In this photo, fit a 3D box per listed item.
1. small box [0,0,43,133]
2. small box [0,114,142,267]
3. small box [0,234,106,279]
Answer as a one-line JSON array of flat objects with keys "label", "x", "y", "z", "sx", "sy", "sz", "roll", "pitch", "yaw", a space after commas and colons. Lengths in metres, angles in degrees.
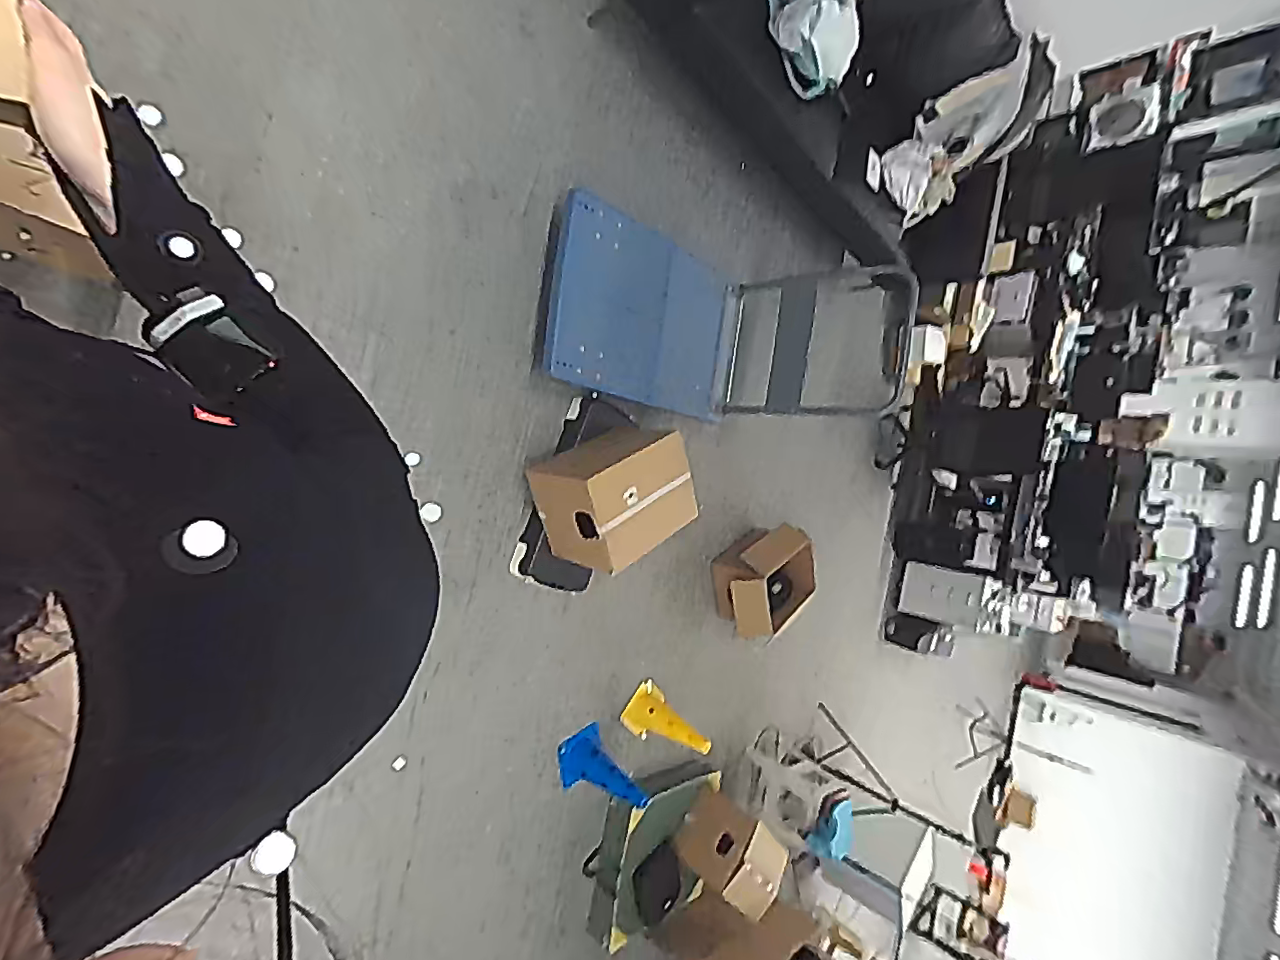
[{"label": "small box", "x": -0.454, "y": -0.308, "z": 0.286, "sx": 0.168, "sy": 0.176, "sz": 0.179, "roll": -10, "pitch": 116, "yaw": -44}, {"label": "small box", "x": -0.923, "y": -0.453, "z": 0.844, "sx": 0.179, "sy": 0.176, "sz": 0.168, "roll": 19, "pitch": 84, "yaw": -46}, {"label": "small box", "x": -1.040, "y": -0.479, "z": 0.957, "sx": 0.168, "sy": 0.176, "sz": 0.179, "roll": 18, "pitch": 83, "yaw": -46}]
